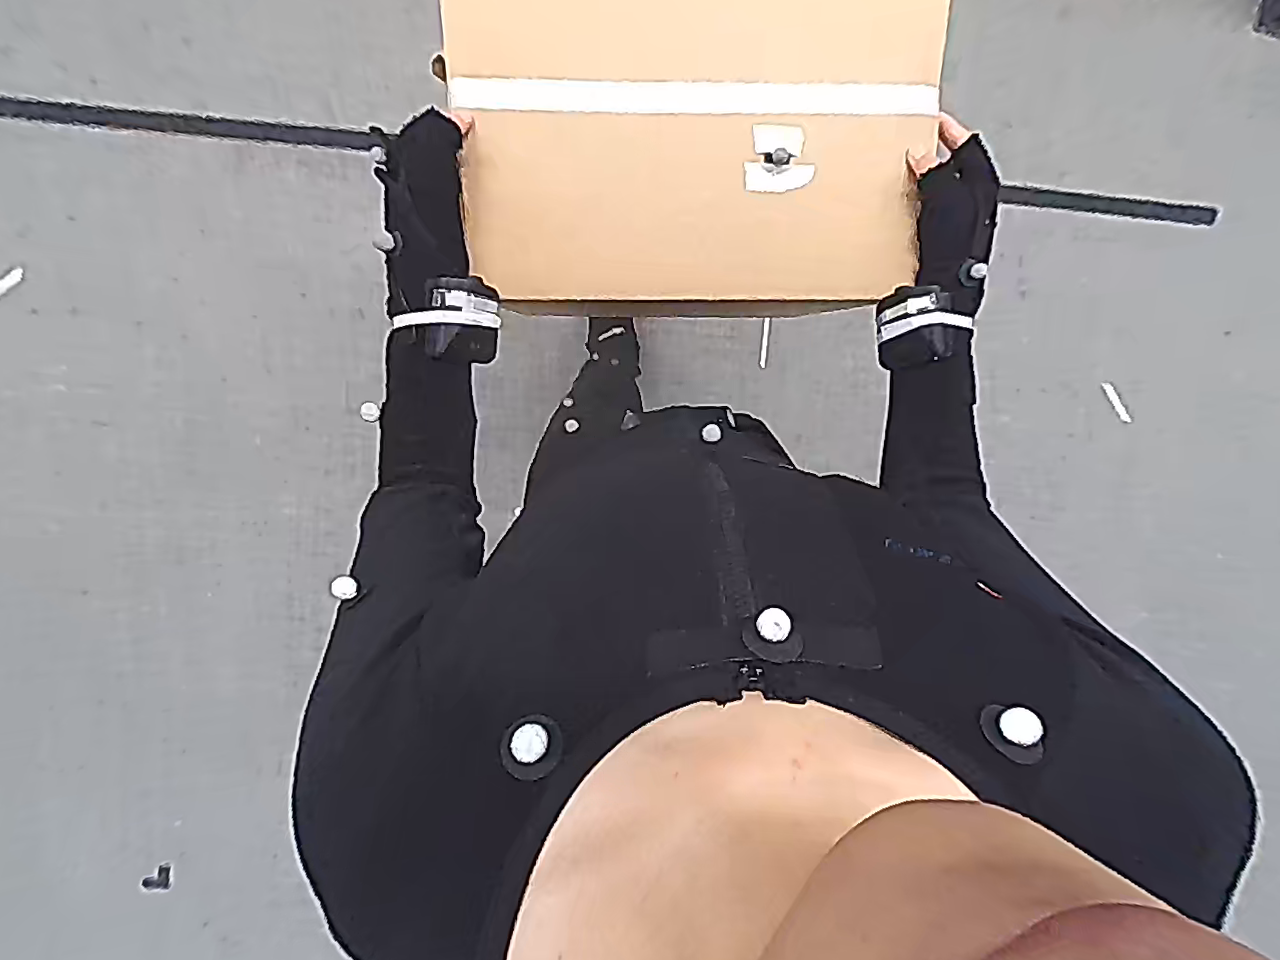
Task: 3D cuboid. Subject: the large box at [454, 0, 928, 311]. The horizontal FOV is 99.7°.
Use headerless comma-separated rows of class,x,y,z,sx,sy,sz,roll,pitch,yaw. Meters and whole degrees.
large box,0.037,-0.366,0.611,0.408,0.320,0.320,-2,105,-4
